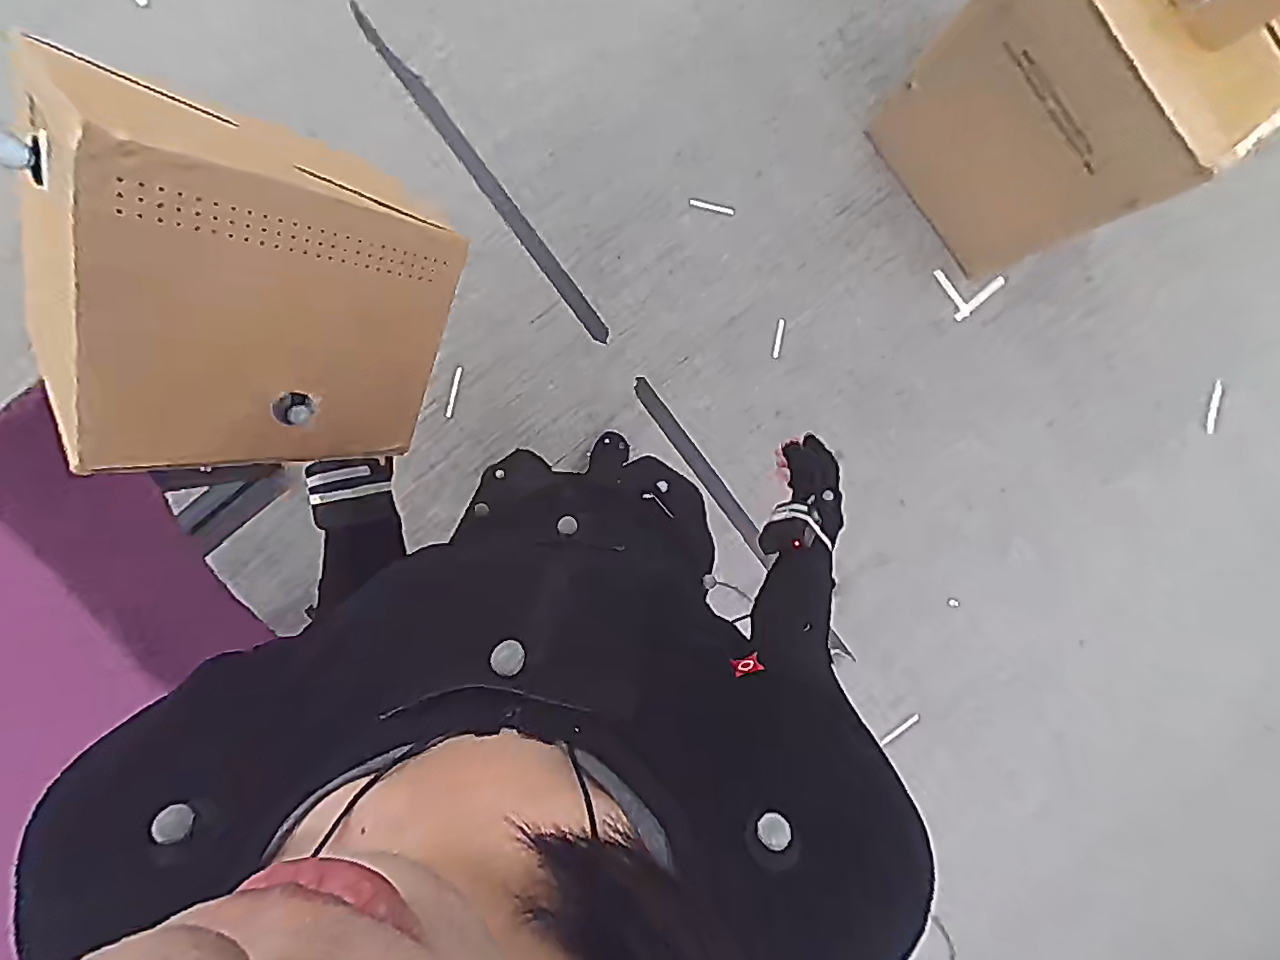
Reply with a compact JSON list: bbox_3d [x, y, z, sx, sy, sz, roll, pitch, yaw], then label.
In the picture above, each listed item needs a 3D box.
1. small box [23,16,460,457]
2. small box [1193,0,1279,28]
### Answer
[{"bbox_3d":[-0.241,-0.132,0.337,0.168,0.179,0.176,42,117,29],"label":"small box"},{"bbox_3d":[0.932,-0.808,0.772,0.179,0.176,0.168,42,93,-6],"label":"small box"}]
